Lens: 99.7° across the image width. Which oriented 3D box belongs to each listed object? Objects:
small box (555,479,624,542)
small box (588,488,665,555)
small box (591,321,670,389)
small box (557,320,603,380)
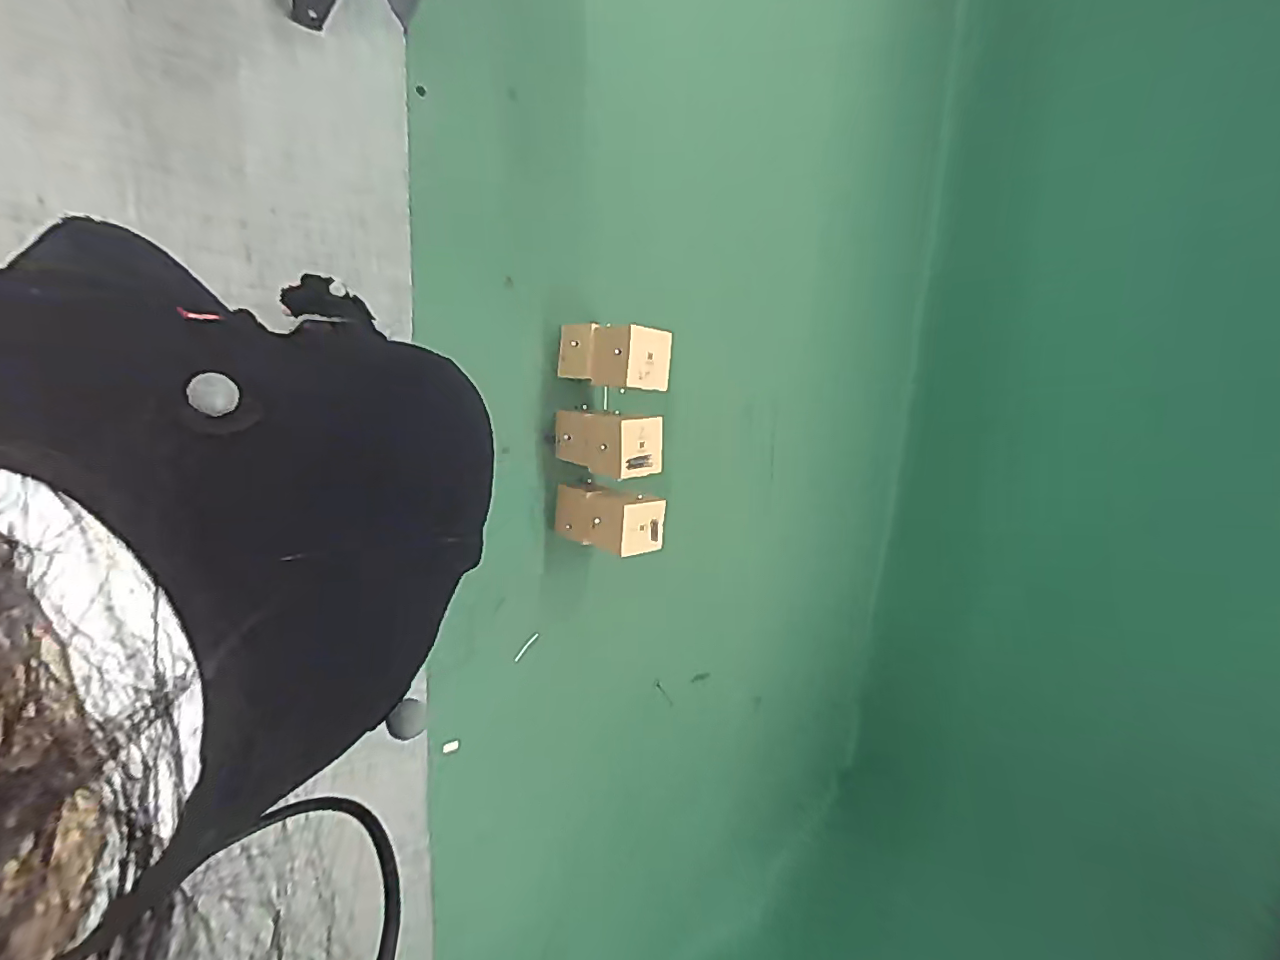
[{"bbox_3d":[-0.173,0.099,1.831,0.168,0.176,0.179,-3,102,-43],"label":"small box"},{"bbox_3d":[-0.045,0.125,1.729,0.179,0.176,0.168,-5,104,-42],"label":"small box"},{"bbox_3d":[-0.032,-0.371,1.619,0.168,0.176,0.179,-2,101,-43],"label":"small box"},{"bbox_3d":[-0.149,-0.408,1.730,0.179,0.176,0.168,-1,100,-43],"label":"small box"}]
